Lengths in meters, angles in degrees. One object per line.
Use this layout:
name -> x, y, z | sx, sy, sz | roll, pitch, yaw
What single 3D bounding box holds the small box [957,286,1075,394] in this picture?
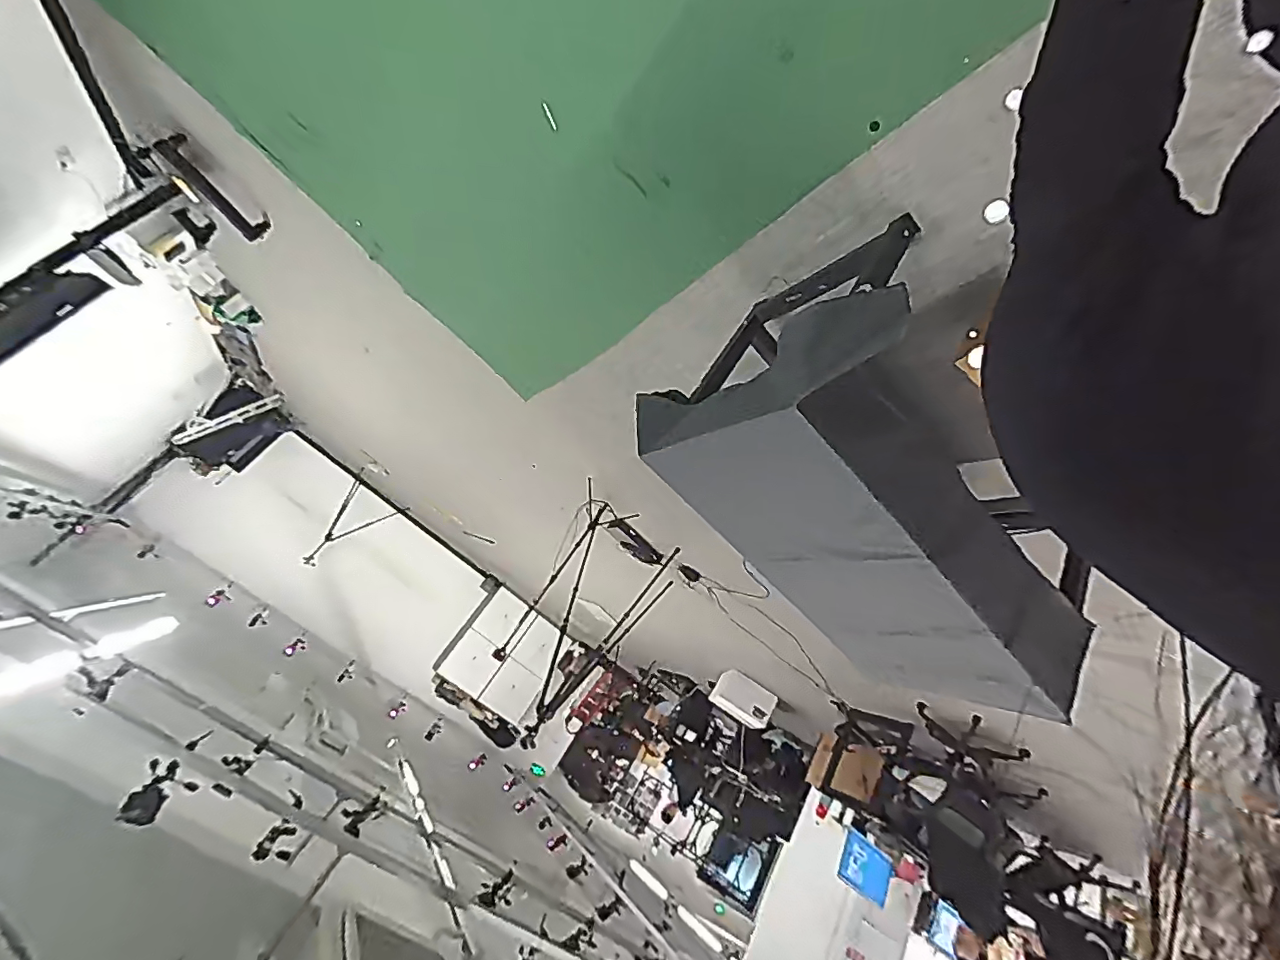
small box -> 0.976, -0.360, 1.401 | 0.168, 0.176, 0.179 | 37, 157, -7
